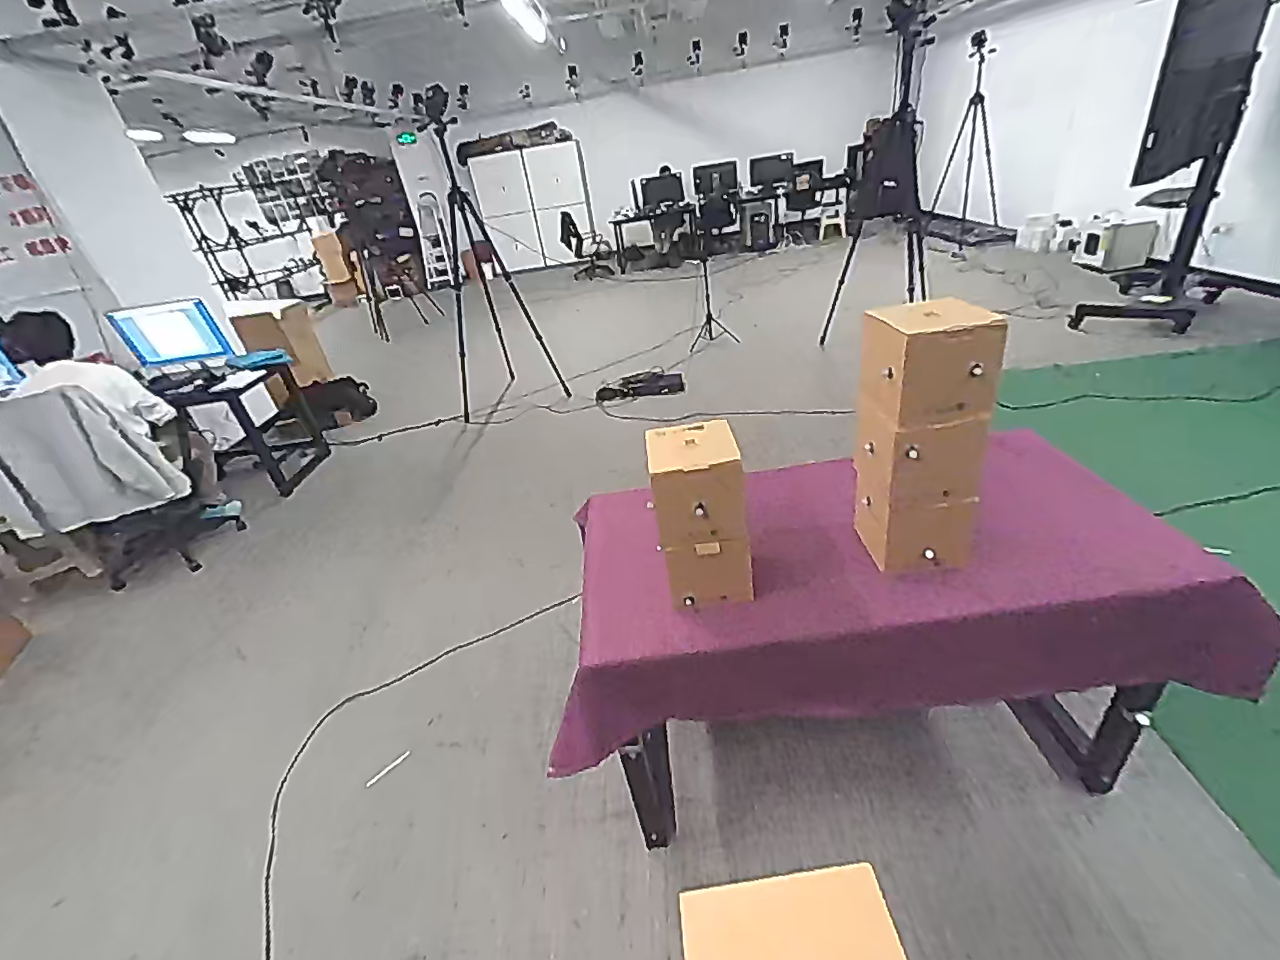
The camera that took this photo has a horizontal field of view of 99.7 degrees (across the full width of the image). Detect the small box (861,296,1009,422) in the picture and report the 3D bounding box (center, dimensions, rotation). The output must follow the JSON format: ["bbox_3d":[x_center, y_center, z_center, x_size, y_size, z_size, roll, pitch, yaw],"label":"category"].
[{"bbox_3d":[0.508,-0.211,0.958,0.168,0.176,0.179,-9,30,2],"label":"small box"}]

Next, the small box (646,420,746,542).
[{"bbox_3d":[0.106,0.007,1.043,0.168,0.176,0.179,-8,32,3],"label":"small box"}]

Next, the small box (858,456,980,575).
[{"bbox_3d":[0.562,0.071,1.117,0.168,0.176,0.179,-8,31,5],"label":"small box"}]

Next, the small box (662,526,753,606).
[{"bbox_3d":[0.135,0.146,1.125,0.168,0.176,0.179,-9,30,2],"label":"small box"}]
